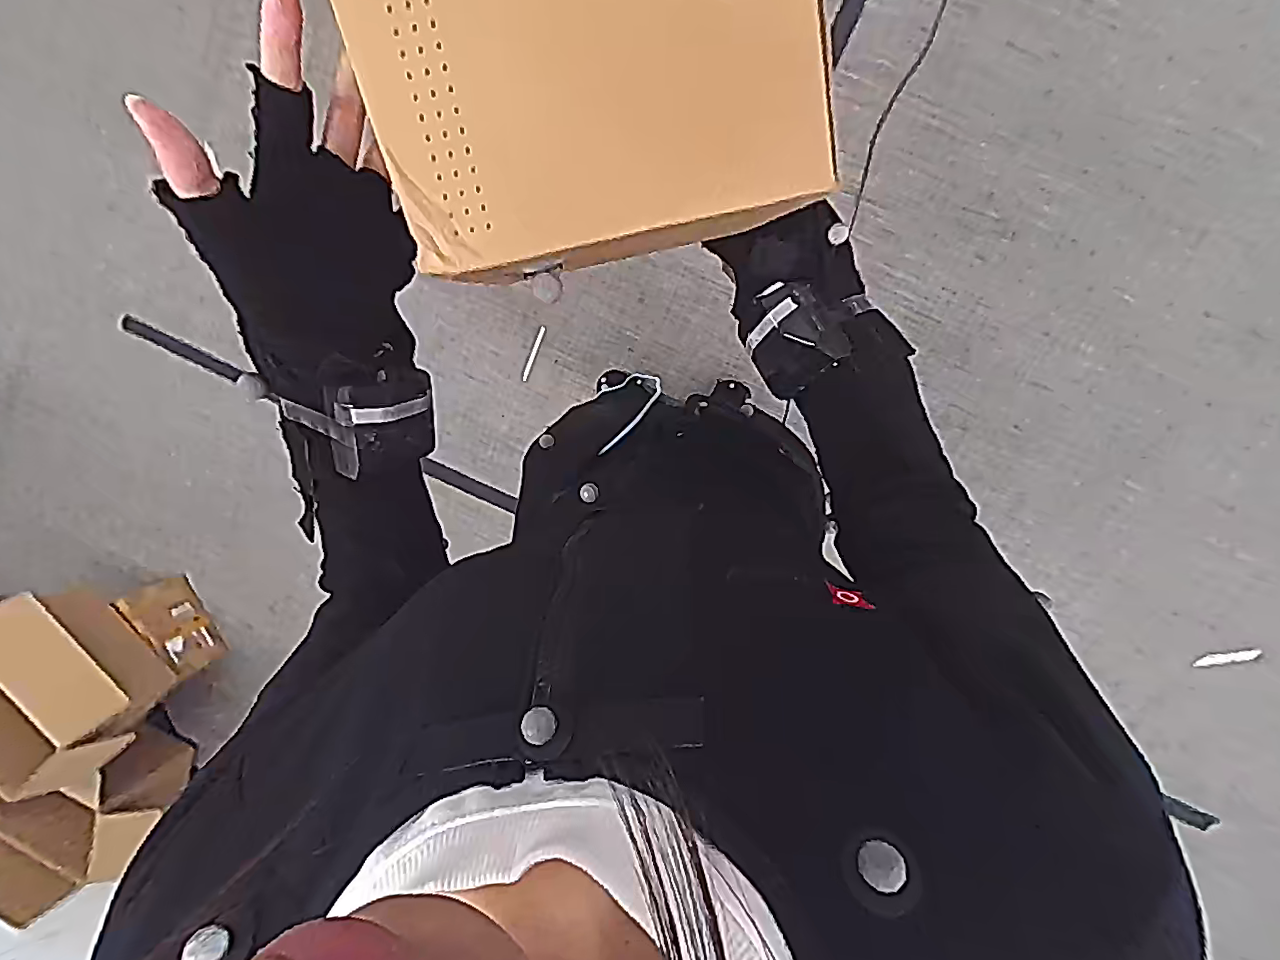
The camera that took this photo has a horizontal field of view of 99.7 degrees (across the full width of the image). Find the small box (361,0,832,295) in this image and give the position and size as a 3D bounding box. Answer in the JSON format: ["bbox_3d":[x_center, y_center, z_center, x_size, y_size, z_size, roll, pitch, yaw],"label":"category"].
[{"bbox_3d":[-0.025,-0.201,0.268,0.176,0.168,0.179,-11,109,3],"label":"small box"}]
